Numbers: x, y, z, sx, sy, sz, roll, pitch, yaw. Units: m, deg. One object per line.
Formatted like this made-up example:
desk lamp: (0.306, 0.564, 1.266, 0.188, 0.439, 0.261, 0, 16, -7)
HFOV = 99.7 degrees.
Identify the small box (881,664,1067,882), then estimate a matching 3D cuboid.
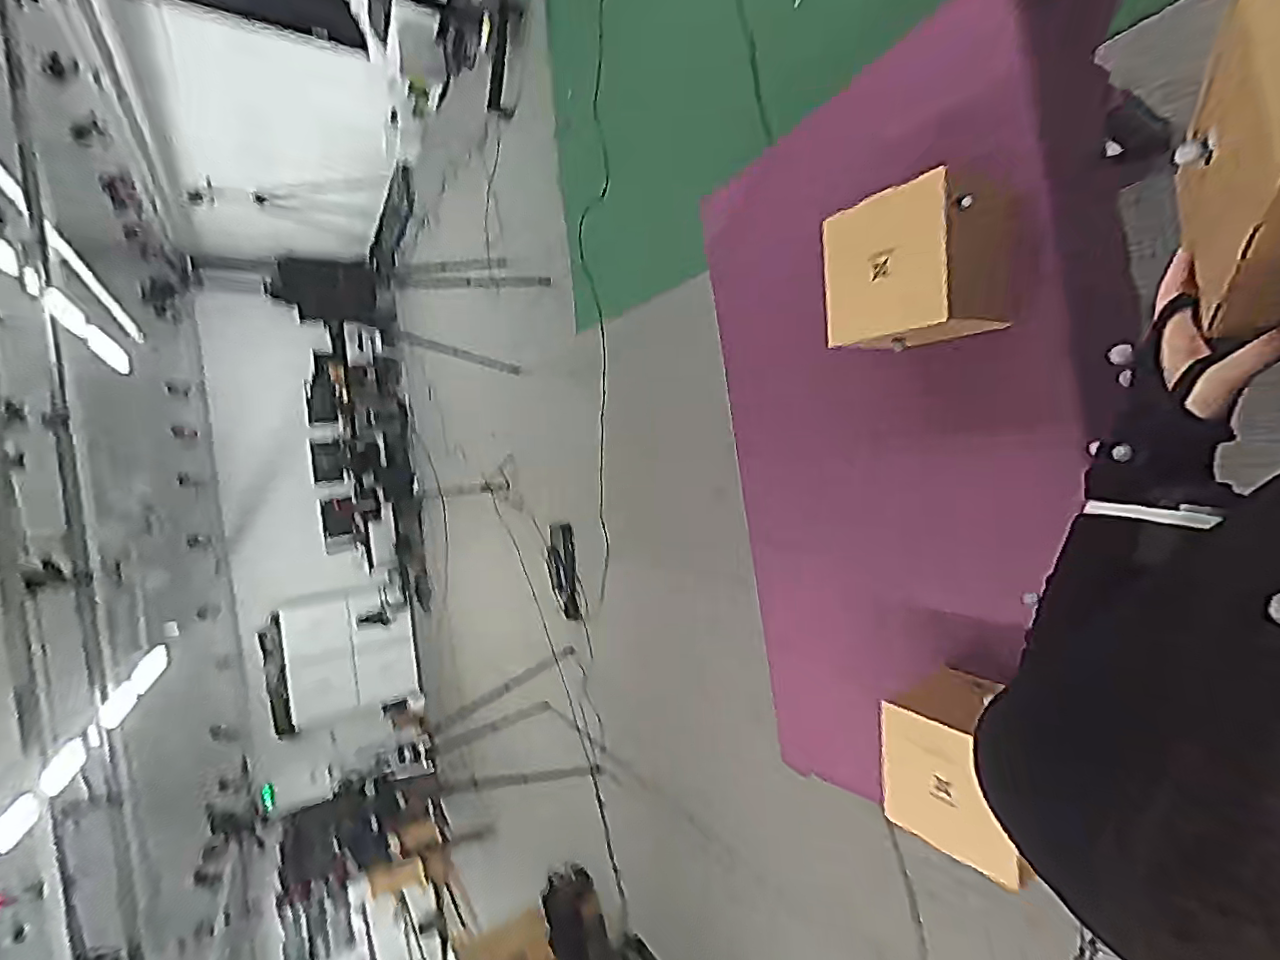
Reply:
small box: (0.454, 0.378, 0.736, 0.168, 0.176, 0.179, 3, 98, 56)

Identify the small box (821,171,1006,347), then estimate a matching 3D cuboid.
small box: (0.371, -0.282, 0.734, 0.168, 0.176, 0.179, 2, 97, 57)
